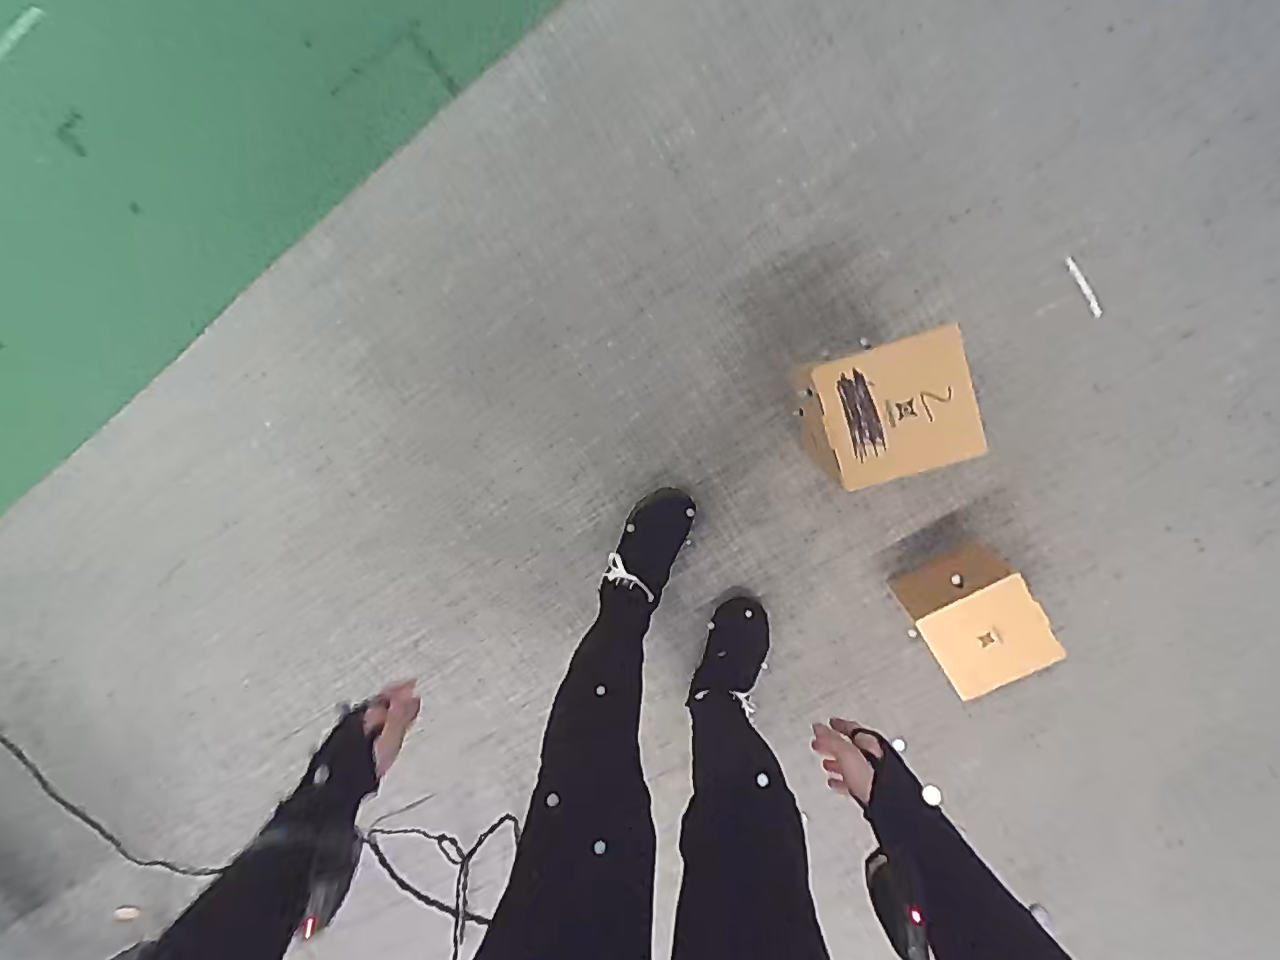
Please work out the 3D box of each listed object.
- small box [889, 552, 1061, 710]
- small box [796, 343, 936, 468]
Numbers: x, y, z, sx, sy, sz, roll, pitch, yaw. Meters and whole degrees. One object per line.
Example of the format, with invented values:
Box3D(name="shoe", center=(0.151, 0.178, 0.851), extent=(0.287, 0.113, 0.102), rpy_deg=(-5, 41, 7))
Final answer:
Box3D(name="small box", center=(0.553, 0.249, 0.926), extent=(0.179, 0.176, 0.168), rpy_deg=(-30, 95, 13))
Box3D(name="small box", center=(0.355, -0.123, 0.881), extent=(0.179, 0.176, 0.168), rpy_deg=(-9, 101, 10))
